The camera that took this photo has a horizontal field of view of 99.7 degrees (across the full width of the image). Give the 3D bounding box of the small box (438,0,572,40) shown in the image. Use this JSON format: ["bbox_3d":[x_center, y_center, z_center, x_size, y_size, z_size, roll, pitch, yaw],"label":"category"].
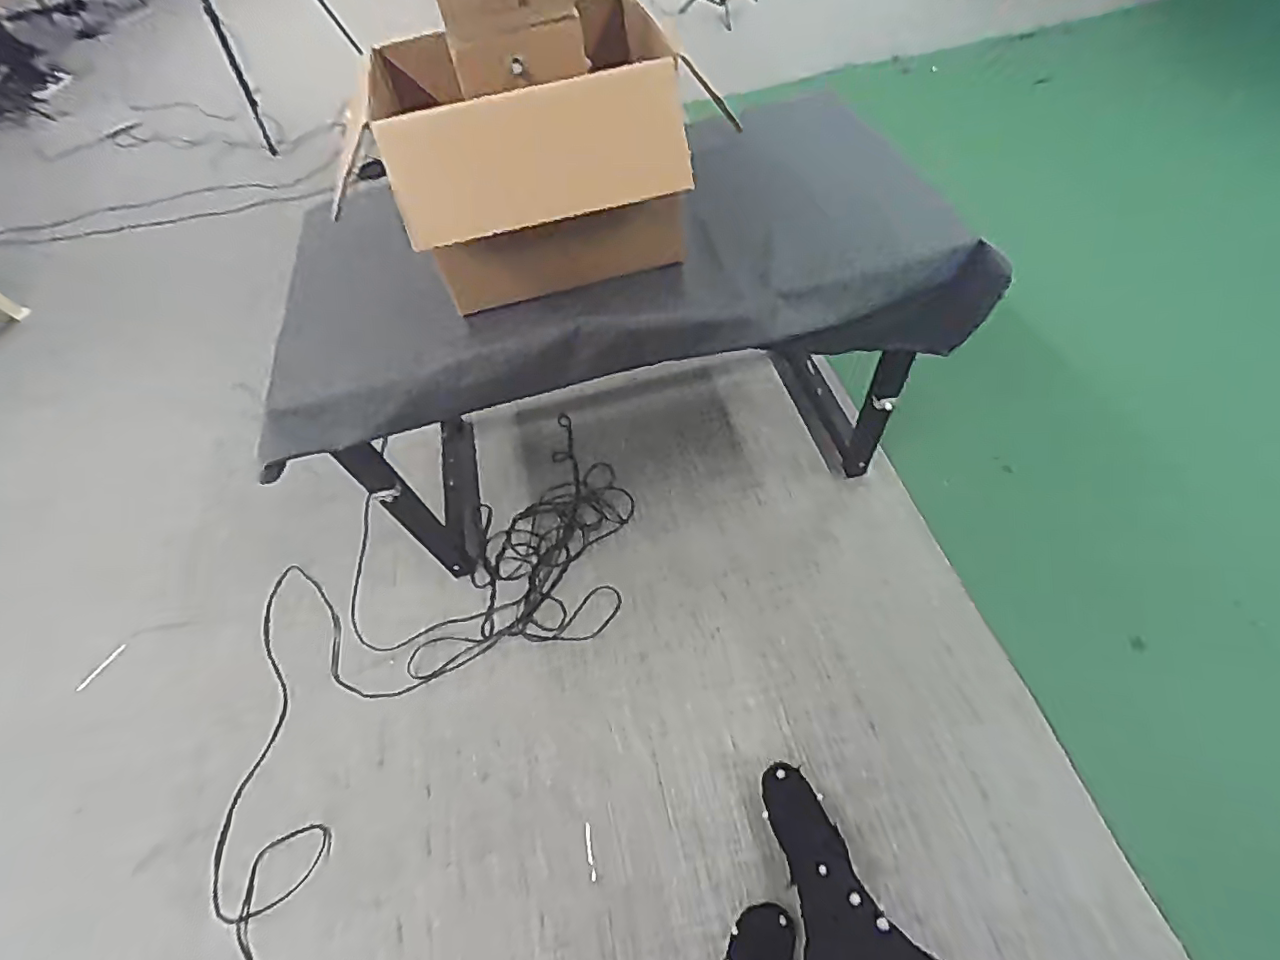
[{"bbox_3d":[-0.188,-0.685,0.679,0.168,0.176,0.179,-13,55,-3],"label":"small box"}]

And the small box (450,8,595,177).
[{"bbox_3d":[-0.170,-0.589,0.809,0.179,0.176,0.168,-15,56,-3],"label":"small box"}]
